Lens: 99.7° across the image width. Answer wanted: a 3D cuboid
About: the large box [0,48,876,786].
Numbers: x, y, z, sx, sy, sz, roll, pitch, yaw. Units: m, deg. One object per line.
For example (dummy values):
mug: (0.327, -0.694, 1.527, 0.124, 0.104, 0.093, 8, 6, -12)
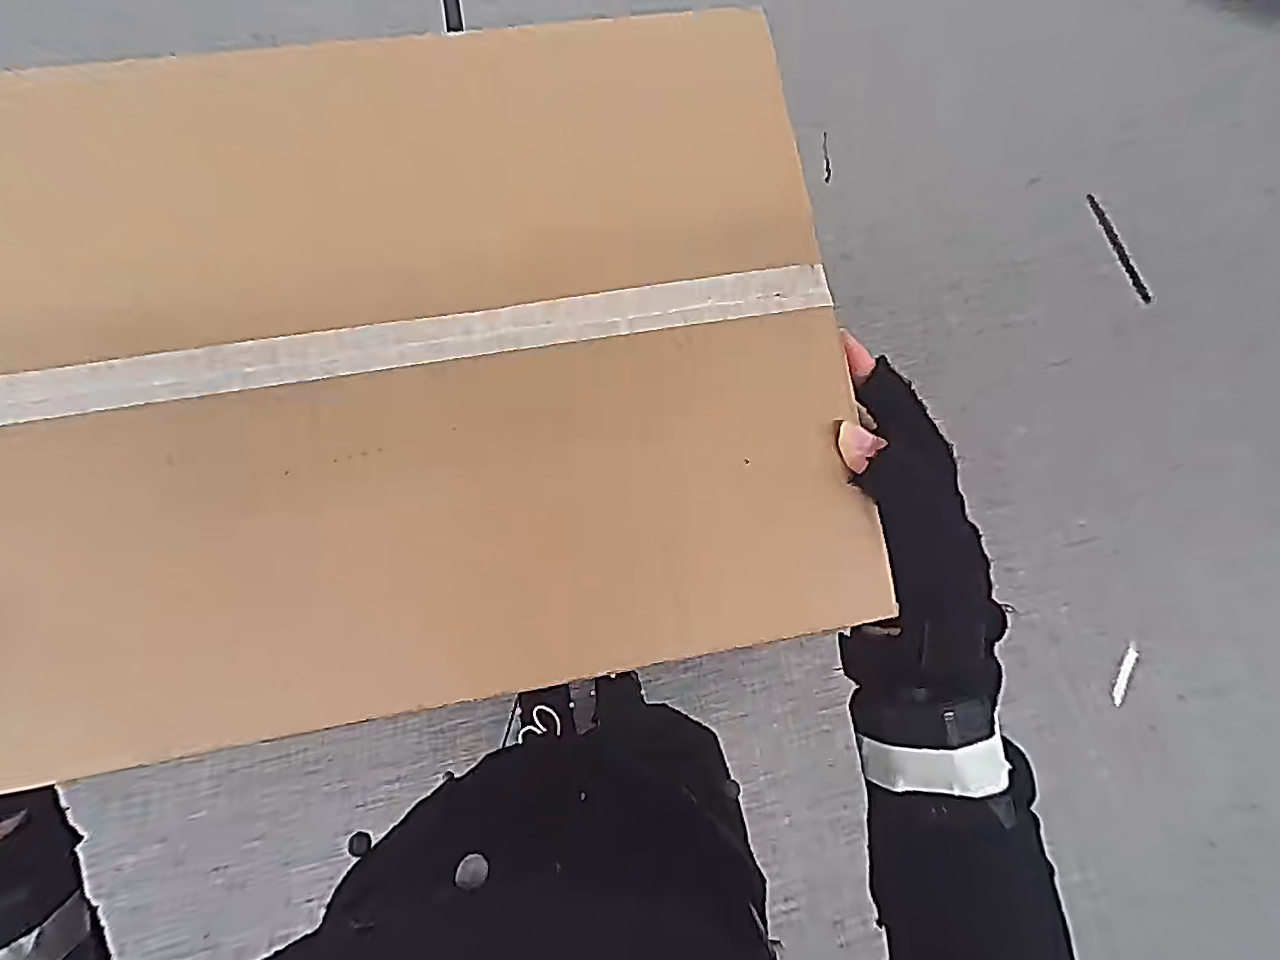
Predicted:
large box: (-0.116, -0.034, 0.408, 0.408, 0.320, 0.320, -10, 85, -5)
